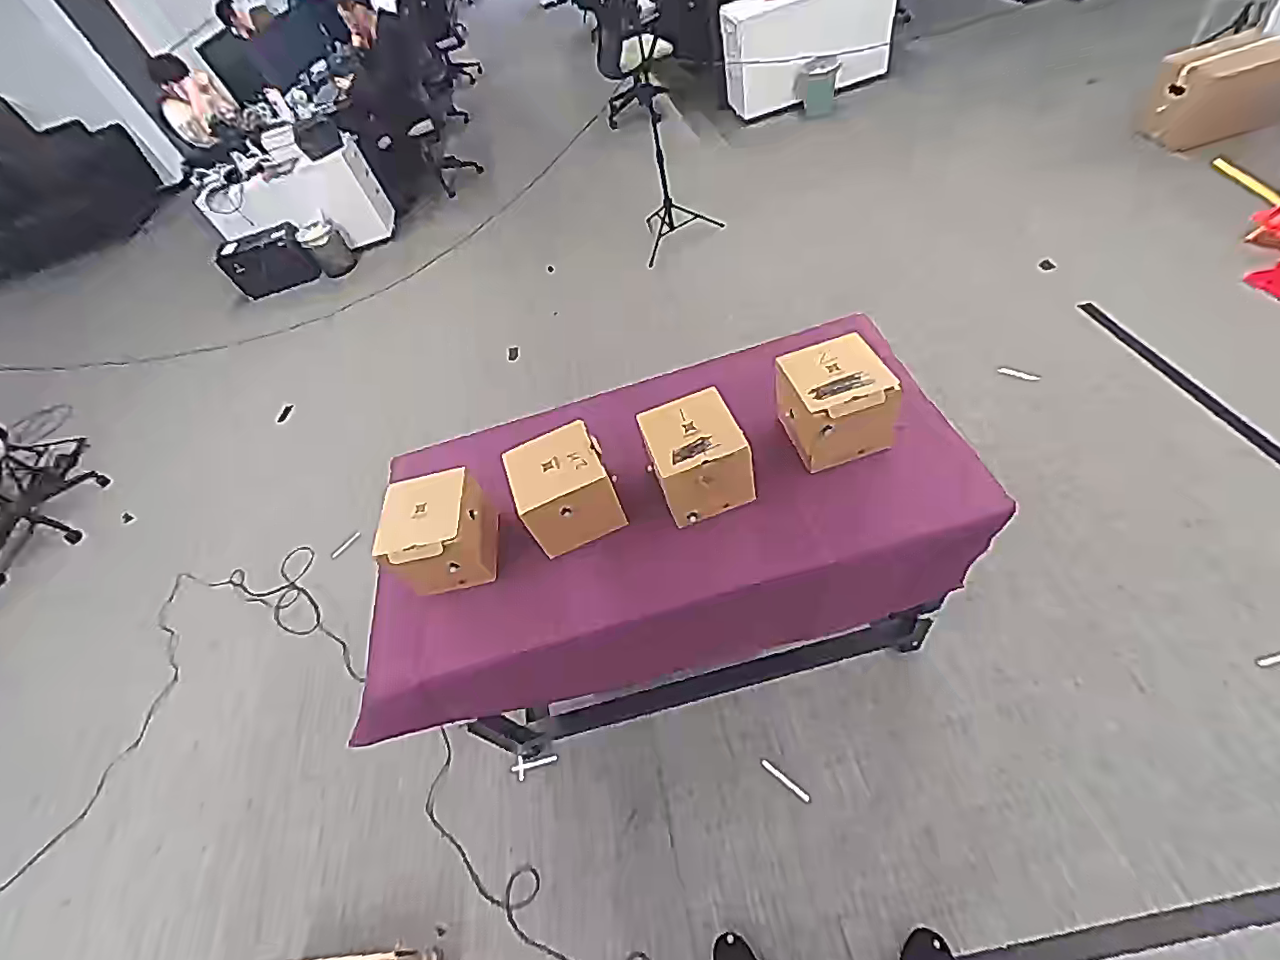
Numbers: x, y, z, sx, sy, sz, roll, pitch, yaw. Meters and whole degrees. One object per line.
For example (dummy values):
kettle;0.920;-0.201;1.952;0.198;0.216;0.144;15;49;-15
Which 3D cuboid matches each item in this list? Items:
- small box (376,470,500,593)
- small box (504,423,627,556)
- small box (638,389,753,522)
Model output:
small box;-0.392;0.111;1.082;0.168;0.176;0.179;-13;51;5
small box;-0.146;0.025;1.078;0.179;0.176;0.168;-24;51;-3
small box;0.111;-0.039;1.055;0.168;0.176;0.179;-20;50;0
